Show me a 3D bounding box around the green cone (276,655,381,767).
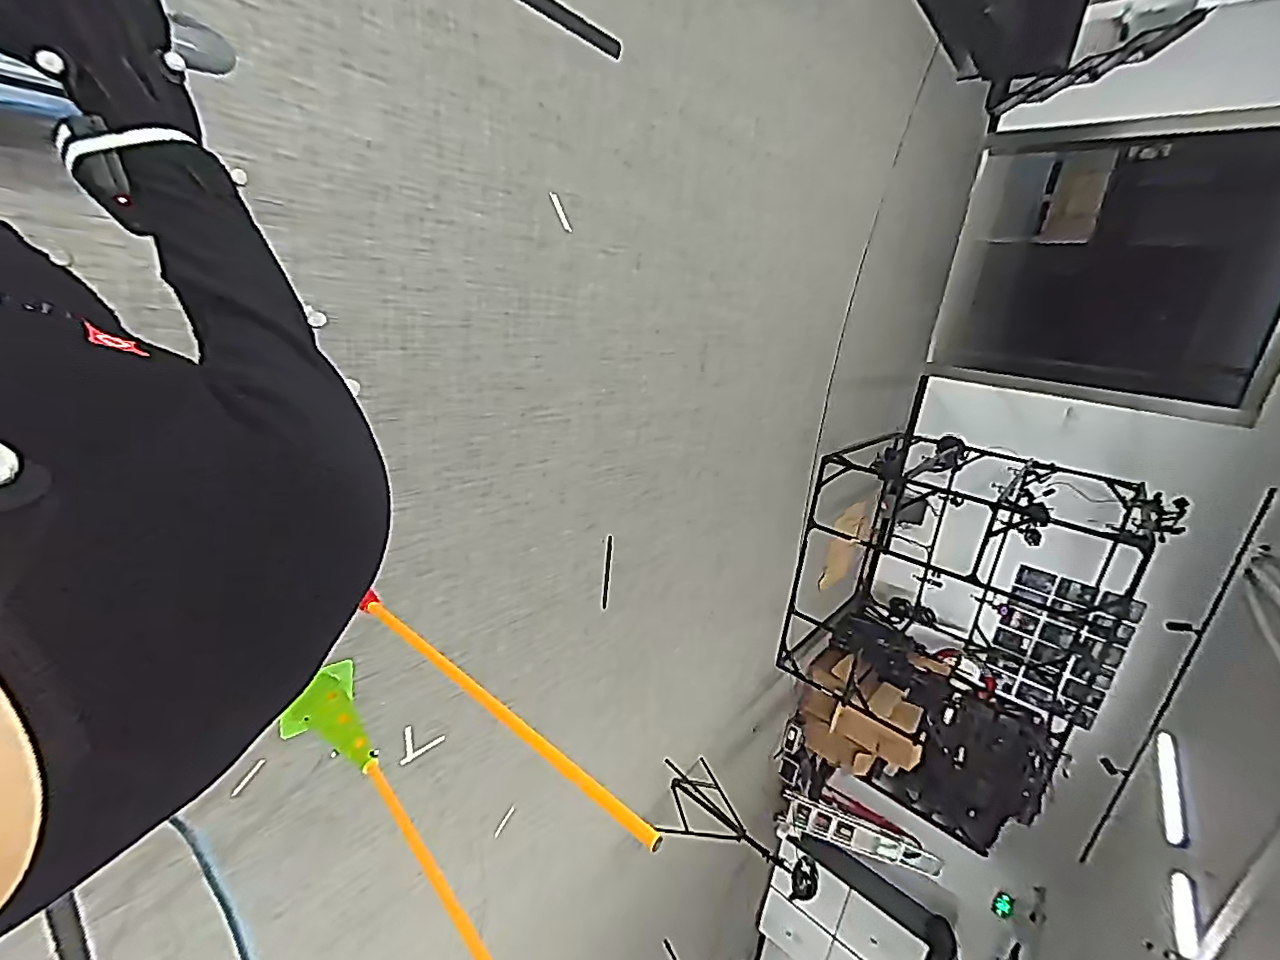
[{"bbox_3d":[-0.839,0.688,1.515,0.202,0.368,0.200,-10,115,-51],"label":"green cone"}]
